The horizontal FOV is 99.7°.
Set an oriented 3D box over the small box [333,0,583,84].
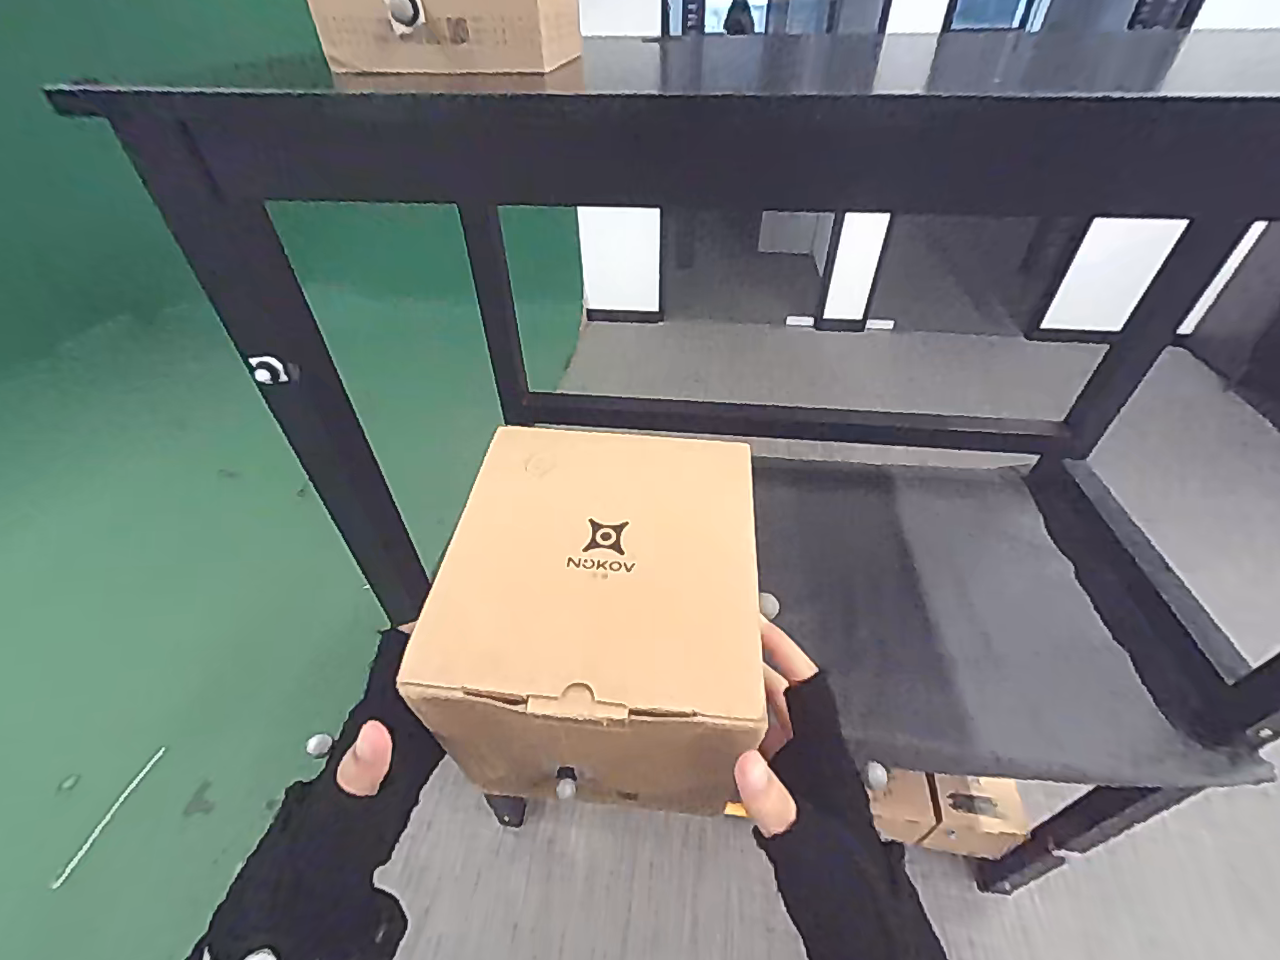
[{"bbox_3d":[-0.140,-0.420,0.418,0.168,0.176,0.179,1,42,3],"label":"small box"}]
